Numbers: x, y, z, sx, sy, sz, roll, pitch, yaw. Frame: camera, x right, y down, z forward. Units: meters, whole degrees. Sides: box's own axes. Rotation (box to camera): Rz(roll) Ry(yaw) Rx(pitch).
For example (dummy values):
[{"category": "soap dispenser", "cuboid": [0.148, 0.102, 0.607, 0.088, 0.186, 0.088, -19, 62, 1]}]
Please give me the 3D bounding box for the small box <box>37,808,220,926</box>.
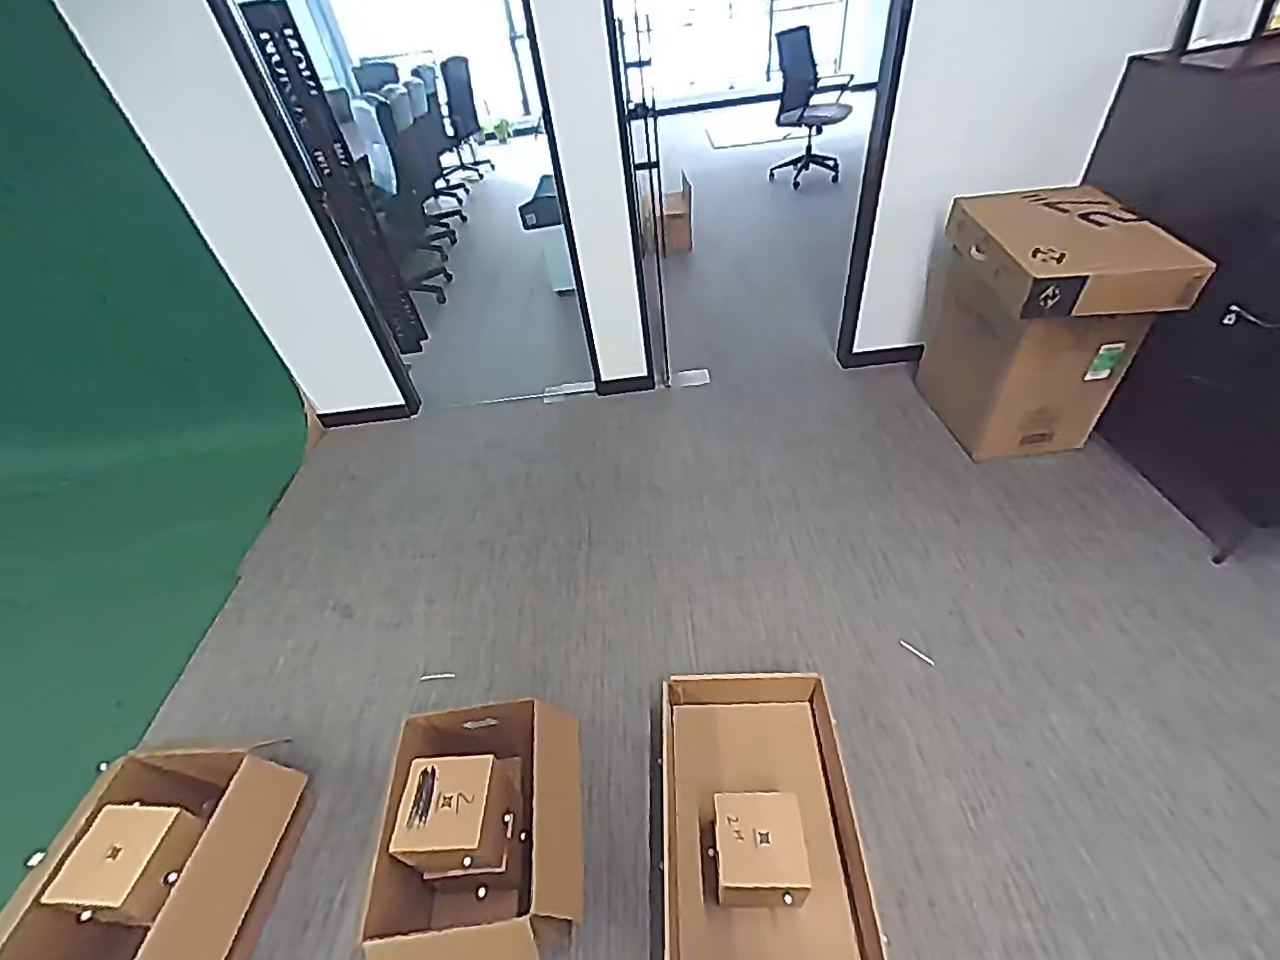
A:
[{"category": "small box", "cuboid": [-1.030, 0.796, 1.112, 0.179, 0.176, 0.168, -2, 42, 5]}]
